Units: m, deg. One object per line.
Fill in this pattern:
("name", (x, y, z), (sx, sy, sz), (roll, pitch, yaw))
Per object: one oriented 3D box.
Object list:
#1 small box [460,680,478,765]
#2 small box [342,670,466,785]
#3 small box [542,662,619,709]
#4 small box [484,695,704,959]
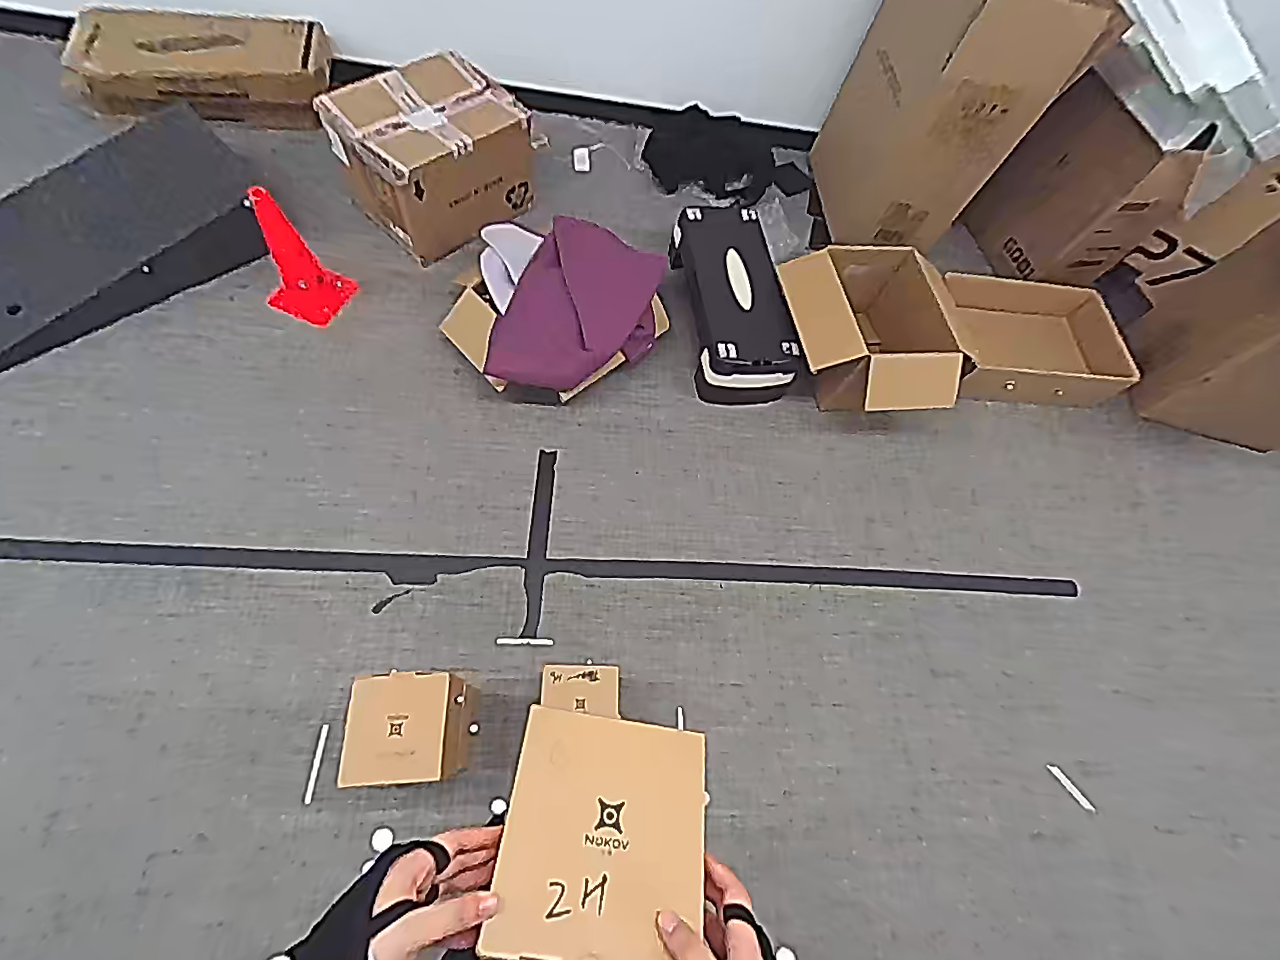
("small box", (-0.453, 0.522, 1.155), (0.179, 0.176, 0.168), (2, 65, -8))
("small box", (-0.426, 0.457, 1.008), (0.168, 0.176, 0.179), (-1, 67, -7))
("small box", (-0.137, 0.509, 1.212), (0.168, 0.176, 0.179), (4, 65, -7))
("small box", (-0.043, 0.332, 0.508), (0.168, 0.176, 0.179), (11, 47, -4))
